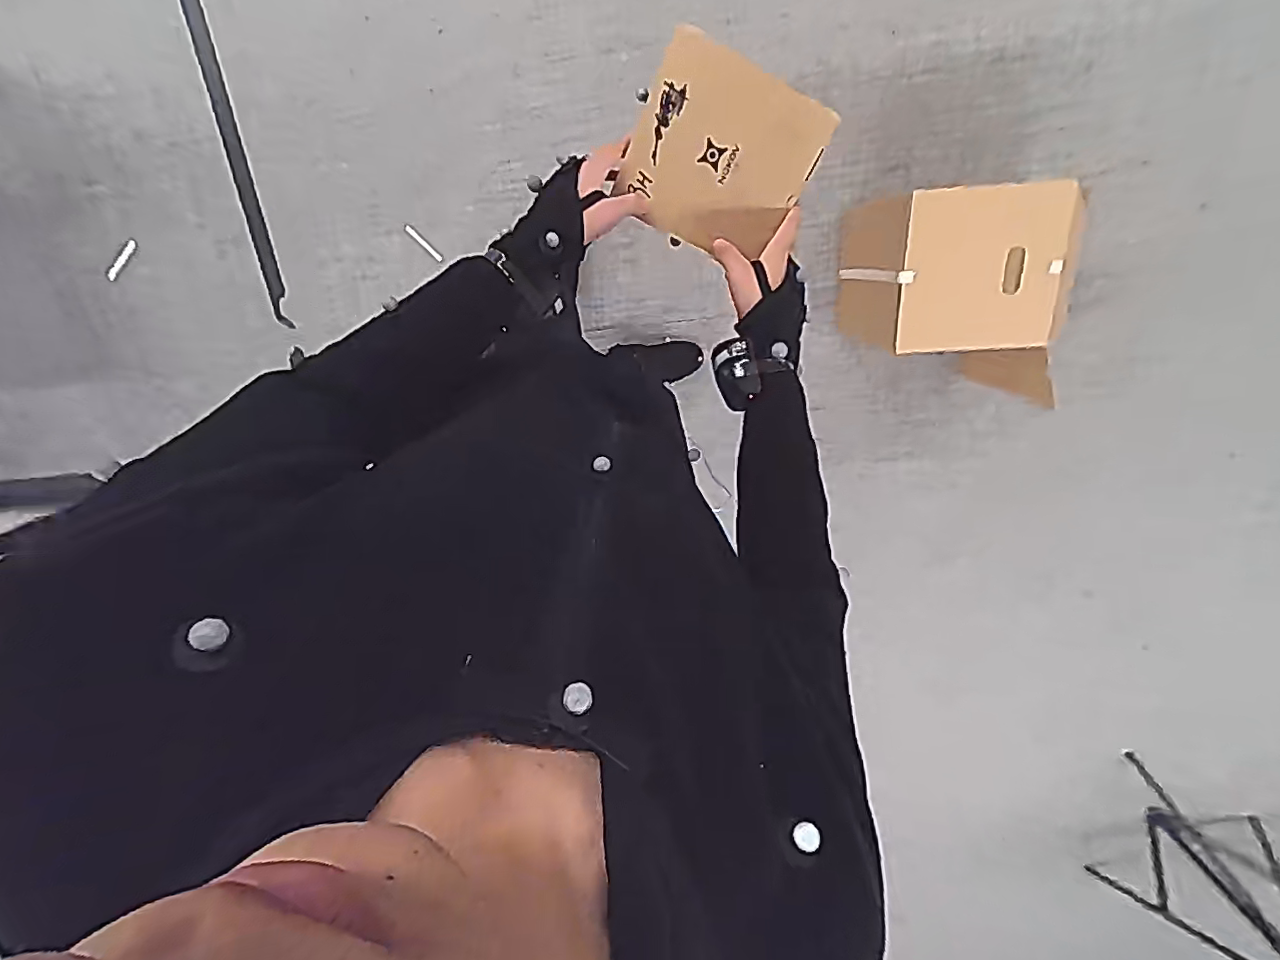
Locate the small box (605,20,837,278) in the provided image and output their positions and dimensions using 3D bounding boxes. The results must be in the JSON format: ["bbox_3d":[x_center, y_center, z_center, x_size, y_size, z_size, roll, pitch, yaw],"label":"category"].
[{"bbox_3d":[0.079,-0.353,0.597,0.179,0.176,0.168,24,118,-10],"label":"small box"}]
